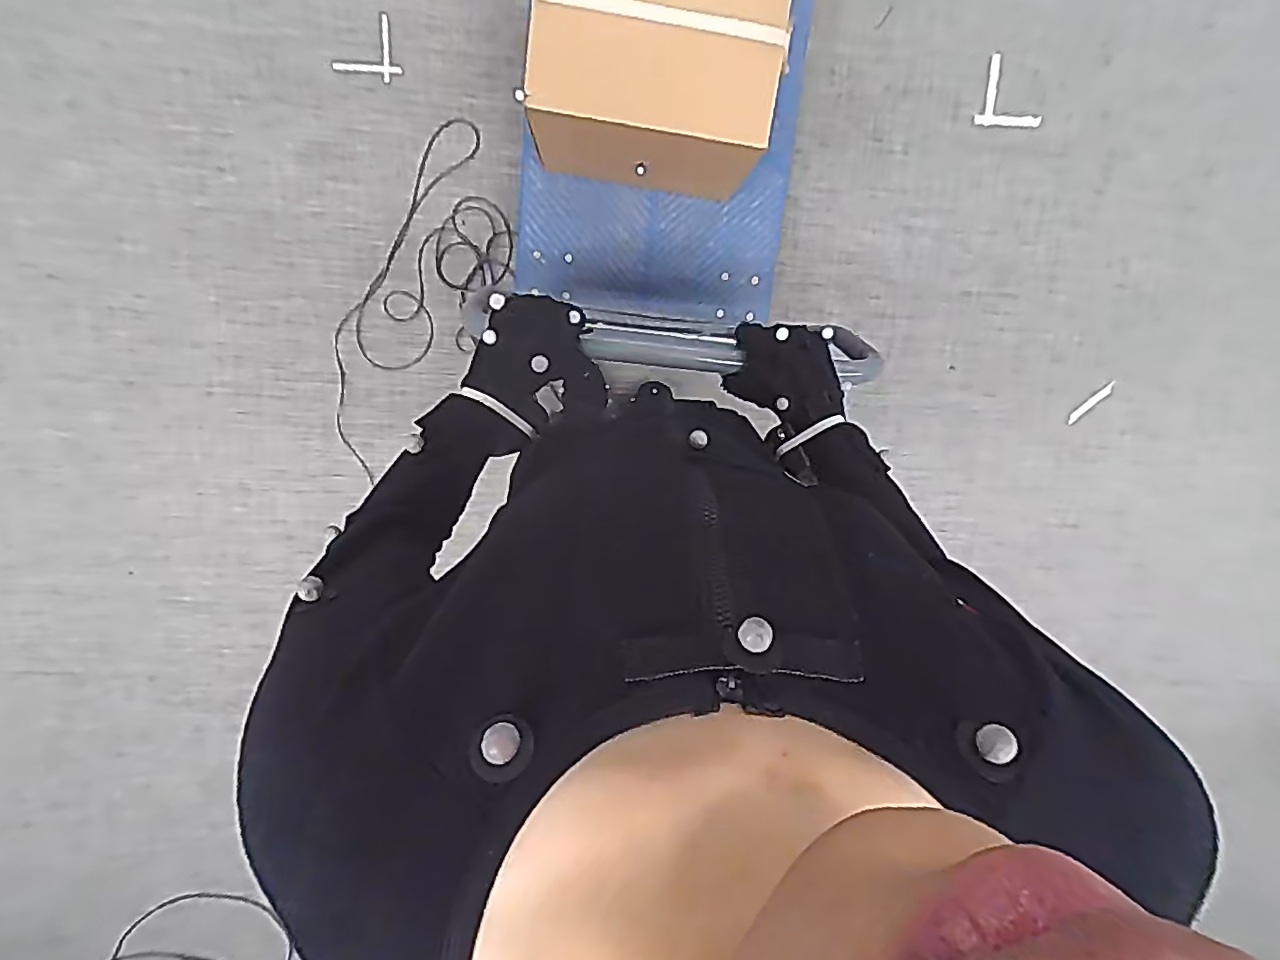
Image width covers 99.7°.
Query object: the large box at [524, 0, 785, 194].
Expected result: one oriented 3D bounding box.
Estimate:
[{"bbox_3d":[0.021,-0.757,0.996,0.408,0.320,0.320,7,102,-4],"label":"large box"}]
